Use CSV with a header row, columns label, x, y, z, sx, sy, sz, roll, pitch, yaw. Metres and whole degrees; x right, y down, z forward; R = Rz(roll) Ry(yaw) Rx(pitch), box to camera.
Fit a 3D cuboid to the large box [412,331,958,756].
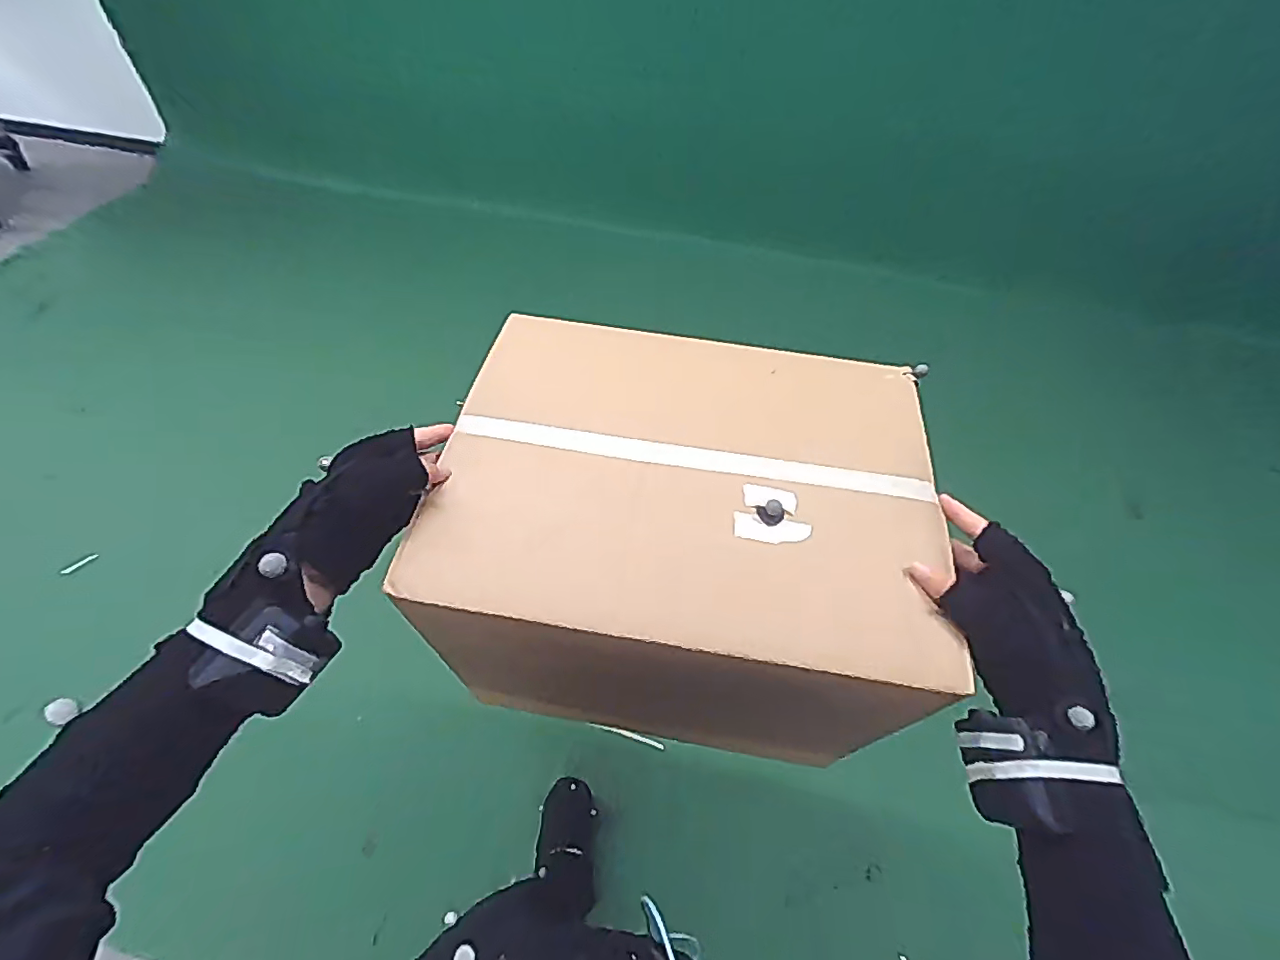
label,x,y,z,sx,sy,sz,roll,pitch,yaw
large box,0.038,0.079,0.590,0.408,0.320,0.320,9,55,2
